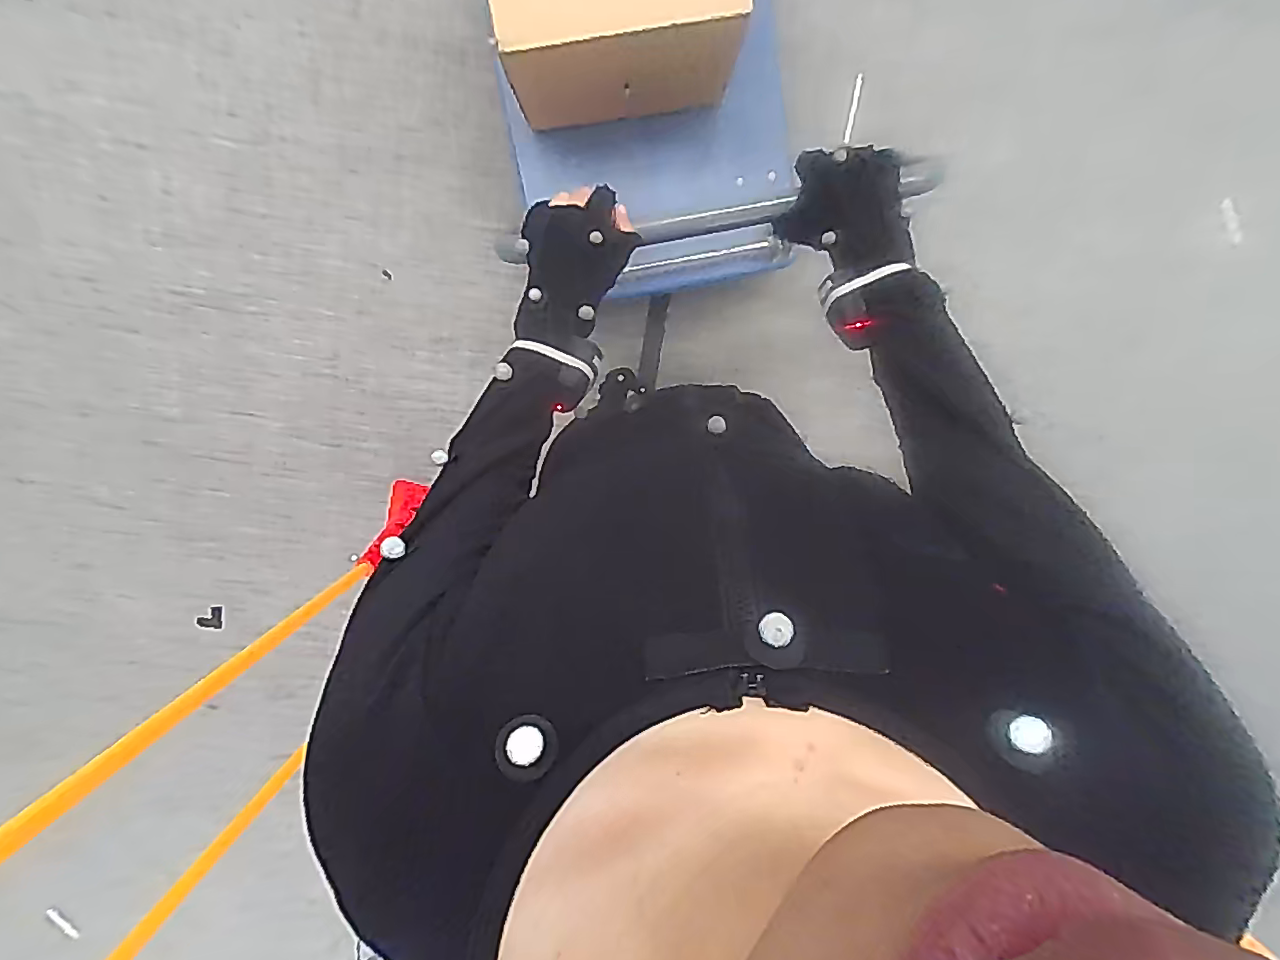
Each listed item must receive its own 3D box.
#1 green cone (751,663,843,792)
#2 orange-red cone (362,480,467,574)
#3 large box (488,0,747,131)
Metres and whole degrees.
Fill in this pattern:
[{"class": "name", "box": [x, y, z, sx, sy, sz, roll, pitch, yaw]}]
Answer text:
[{"class": "green cone", "box": [0.454, 0.689, 1.459, 0.202, 0.368, 0.200, 12, 102, -5]}, {"class": "orange-red cone", "box": [-0.585, 0.146, 1.329, 0.198, 0.360, 0.199, 16, 100, -5]}, {"class": "large box", "box": [-0.049, -0.875, 0.960, 0.408, 0.320, 0.320, -8, 103, 2]}]
